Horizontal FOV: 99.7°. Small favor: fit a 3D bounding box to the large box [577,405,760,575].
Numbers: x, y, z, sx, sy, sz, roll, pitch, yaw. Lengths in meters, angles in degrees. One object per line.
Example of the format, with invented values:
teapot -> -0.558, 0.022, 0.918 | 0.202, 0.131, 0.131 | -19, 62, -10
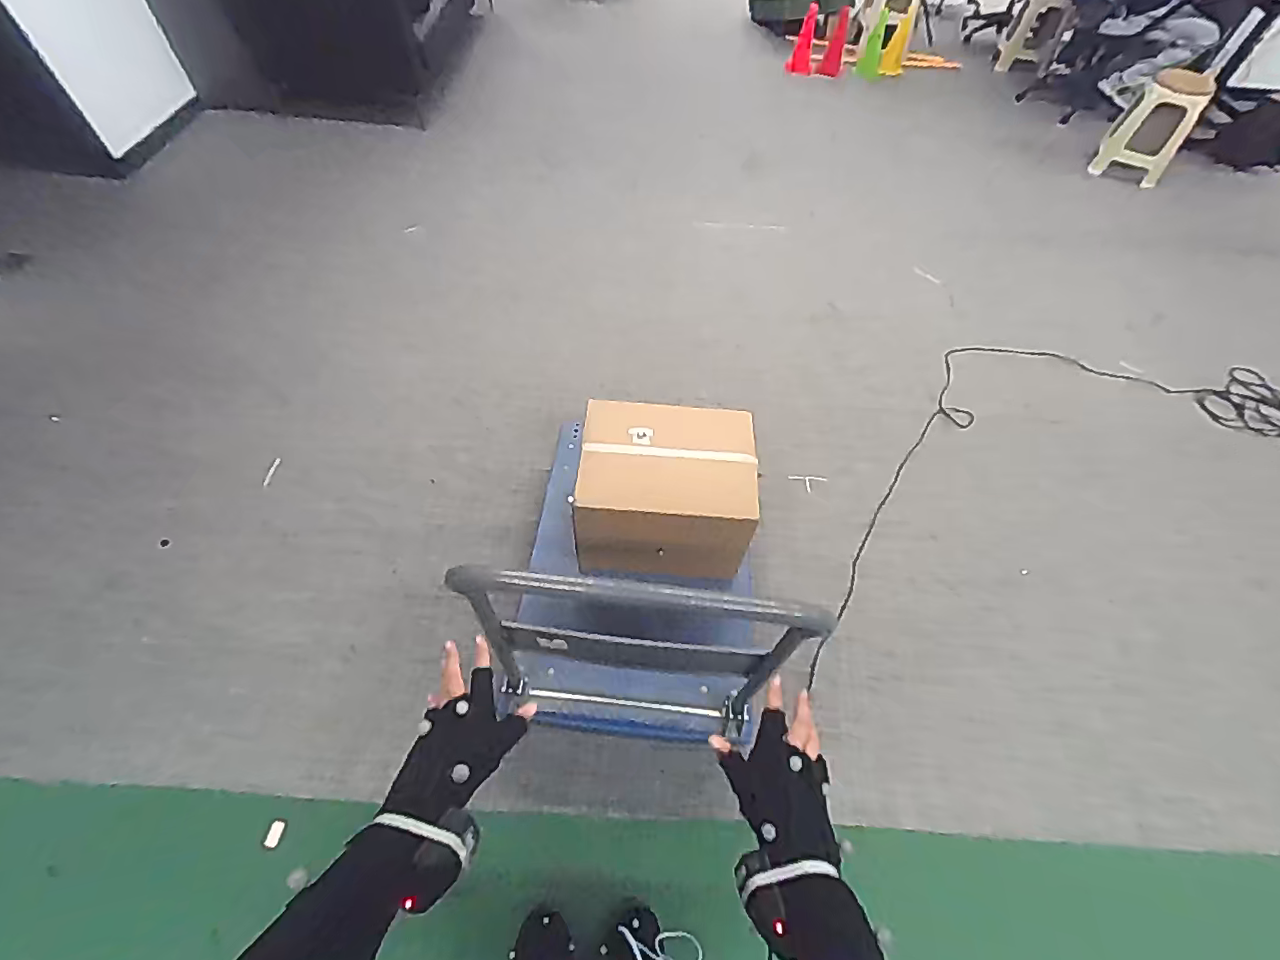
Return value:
large box -> 0.065, 0.033, 1.371 | 0.408, 0.320, 0.320 | 4, 54, 0
